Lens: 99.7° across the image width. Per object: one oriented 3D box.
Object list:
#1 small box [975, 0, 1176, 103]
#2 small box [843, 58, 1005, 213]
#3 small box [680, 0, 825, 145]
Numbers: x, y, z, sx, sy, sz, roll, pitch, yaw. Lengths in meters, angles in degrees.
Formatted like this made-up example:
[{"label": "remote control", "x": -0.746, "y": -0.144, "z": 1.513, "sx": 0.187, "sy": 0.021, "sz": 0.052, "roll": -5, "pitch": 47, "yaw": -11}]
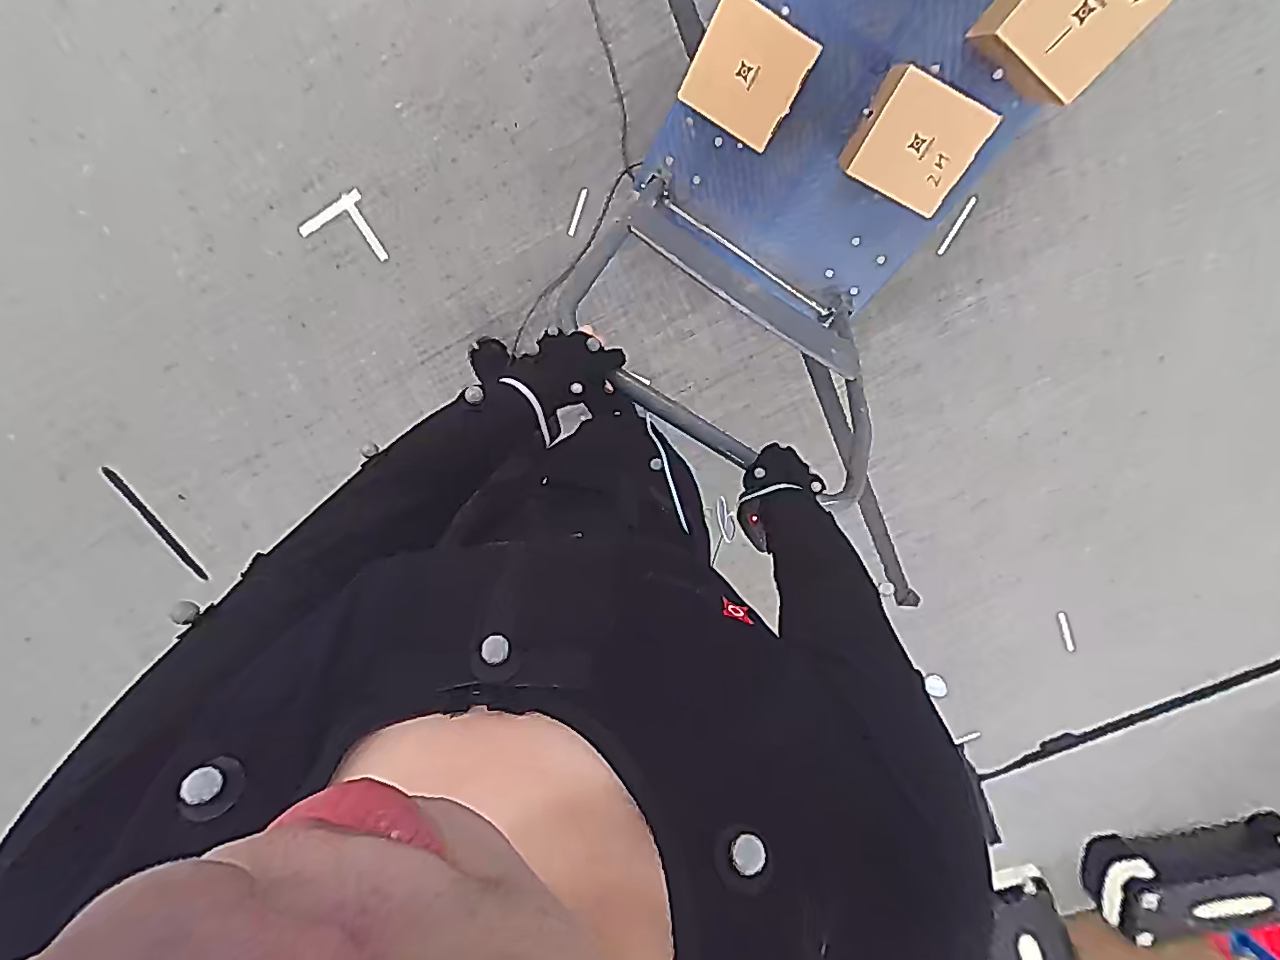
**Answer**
[{"label": "small box", "x": 0.657, "y": -0.719, "z": 0.822, "sx": 0.168, "sy": 0.176, "sz": 0.179, "roll": 34, "pitch": 128, "yaw": -12}, {"label": "small box", "x": 0.482, "y": -0.604, "z": 0.953, "sx": 0.179, "sy": 0.176, "sz": 0.168, "roll": 26, "pitch": 129, "yaw": -6}, {"label": "small box", "x": 0.192, "y": -0.719, "z": 0.939, "sx": 0.179, "sy": 0.176, "sz": 0.168, "roll": 28, "pitch": 128, "yaw": -10}]
